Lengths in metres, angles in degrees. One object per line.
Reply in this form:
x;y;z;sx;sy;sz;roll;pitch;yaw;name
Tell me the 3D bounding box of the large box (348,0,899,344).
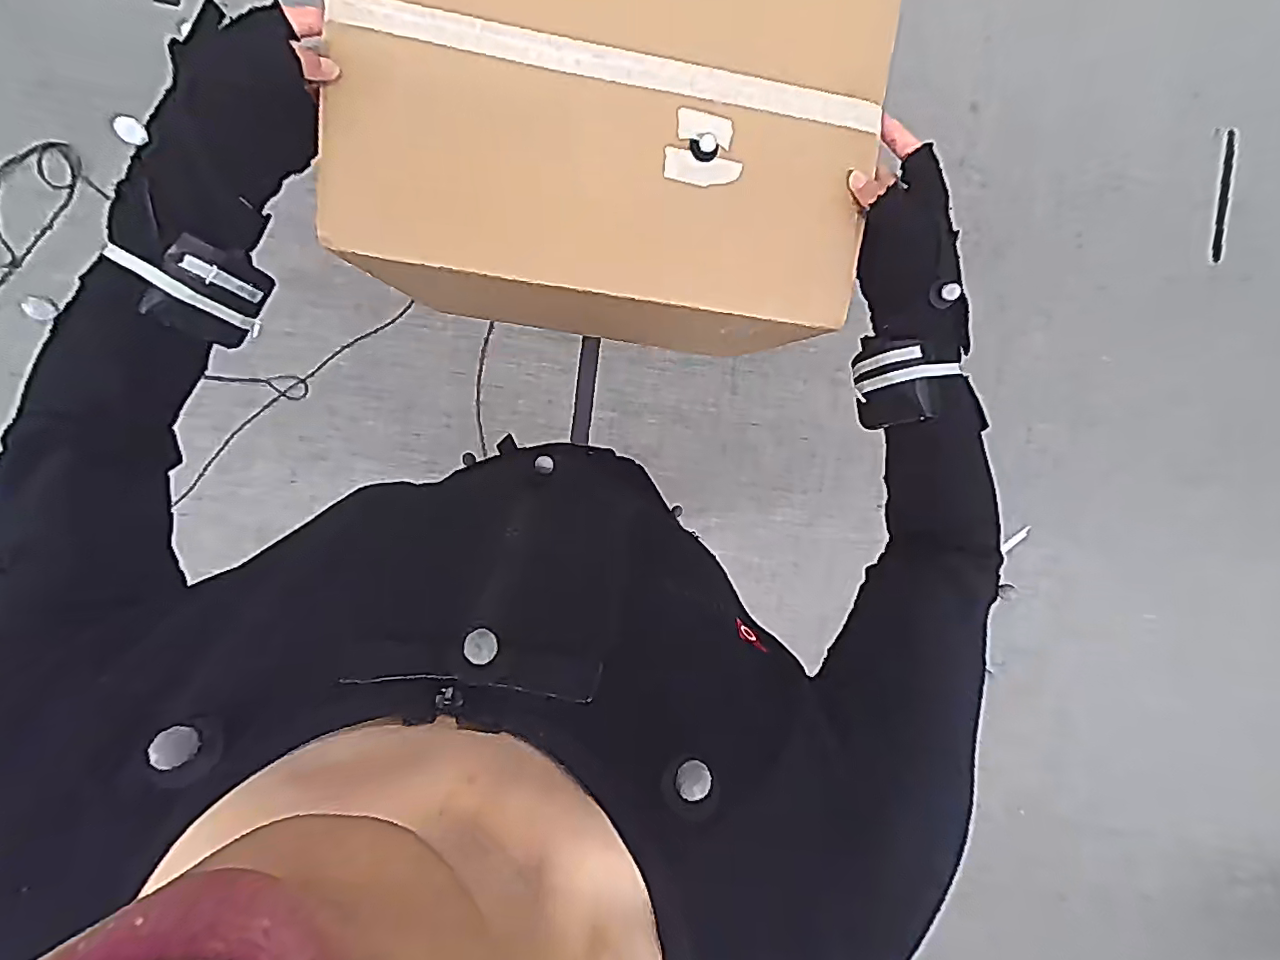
-0.024;-0.331;0.550;0.408;0.320;0.320;6;99;-8;large box
